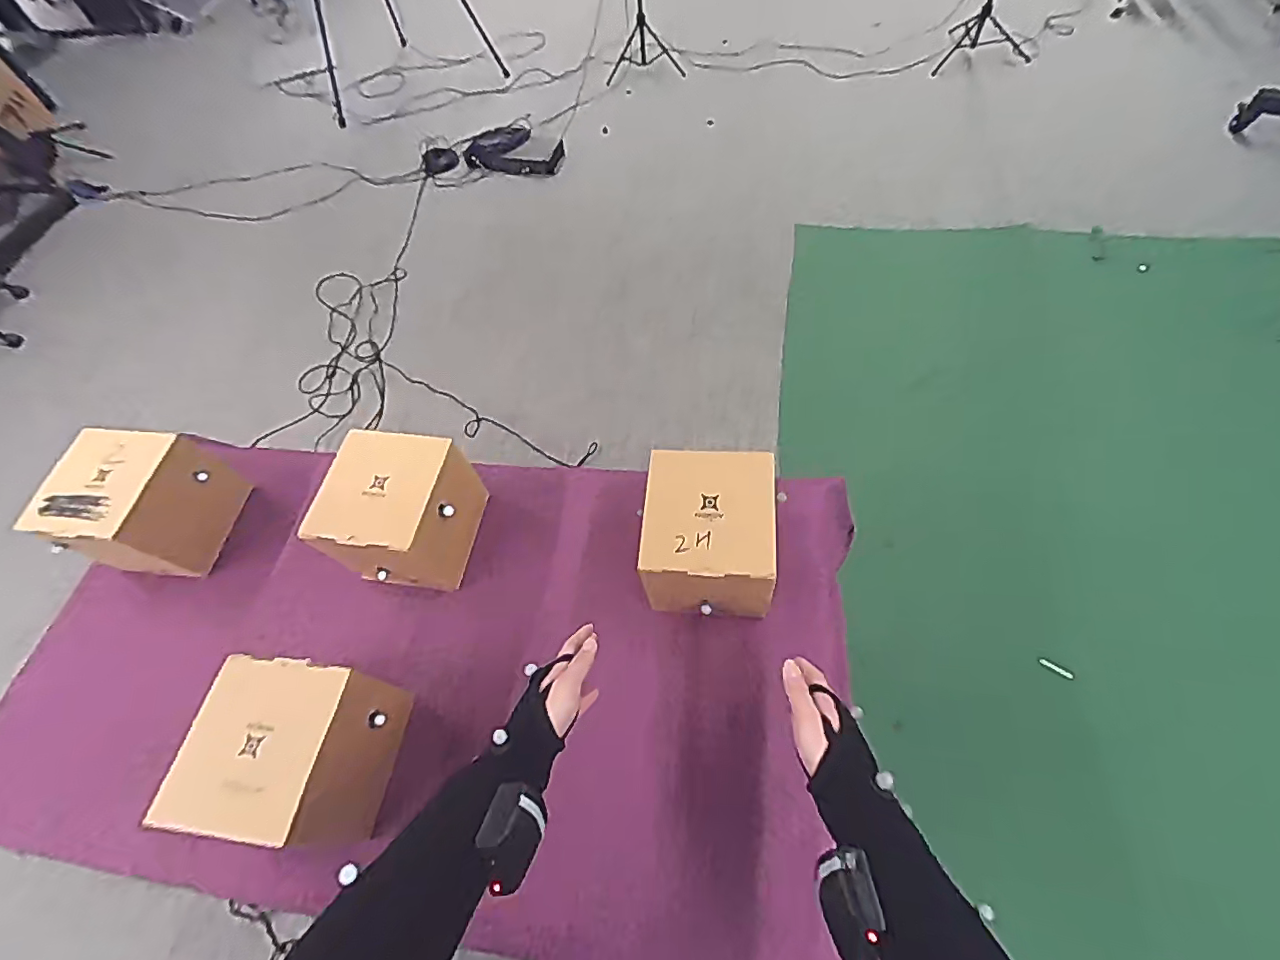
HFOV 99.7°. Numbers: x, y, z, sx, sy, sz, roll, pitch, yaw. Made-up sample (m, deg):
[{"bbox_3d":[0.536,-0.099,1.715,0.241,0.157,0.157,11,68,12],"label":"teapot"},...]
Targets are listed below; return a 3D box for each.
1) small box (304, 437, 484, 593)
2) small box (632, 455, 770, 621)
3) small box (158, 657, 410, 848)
[{"bbox_3d":[-0.358,0.057,0.830,0.168,0.176,0.179,6,63,10],"label":"small box"},{"bbox_3d":[0.091,0.083,0.754,0.168,0.176,0.179,1,61,11],"label":"small box"},{"bbox_3d":[-0.416,0.338,0.674,0.168,0.176,0.179,3,60,10],"label":"small box"}]
